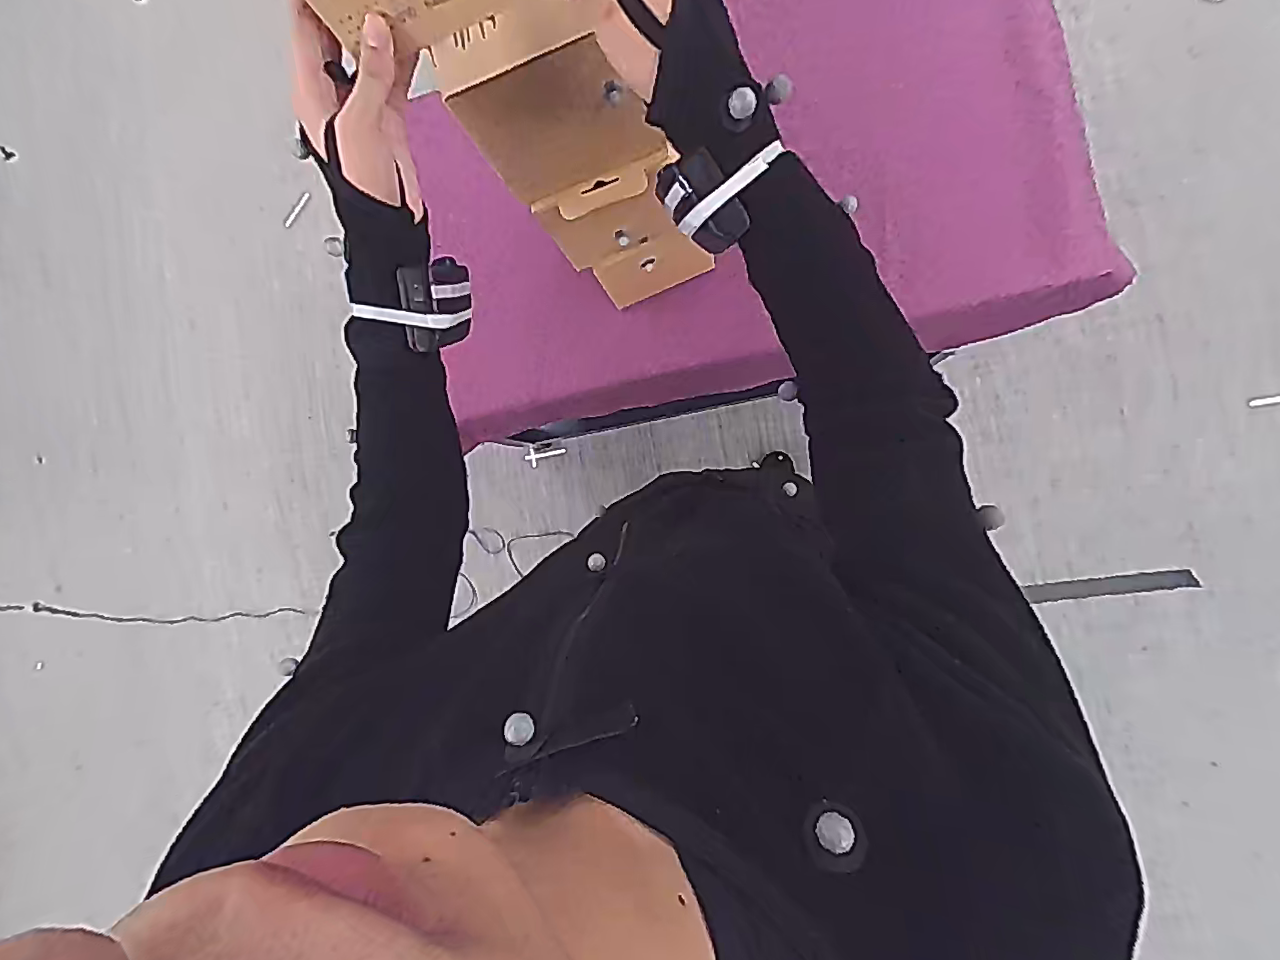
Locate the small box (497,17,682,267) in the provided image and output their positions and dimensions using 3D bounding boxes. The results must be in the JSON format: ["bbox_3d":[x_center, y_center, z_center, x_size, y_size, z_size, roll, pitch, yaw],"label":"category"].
[{"bbox_3d":[-0.052,-0.402,0.676,0.168,0.176,0.179,-16,86,11],"label":"small box"}]

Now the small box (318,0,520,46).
[{"bbox_3d":[-0.134,-0.377,0.281,0.168,0.176,0.179,-13,72,13],"label":"small box"}]

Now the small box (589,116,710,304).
[{"bbox_3d":[0.000,-0.398,0.834,0.179,0.176,0.168,-21,86,9],"label":"small box"}]
